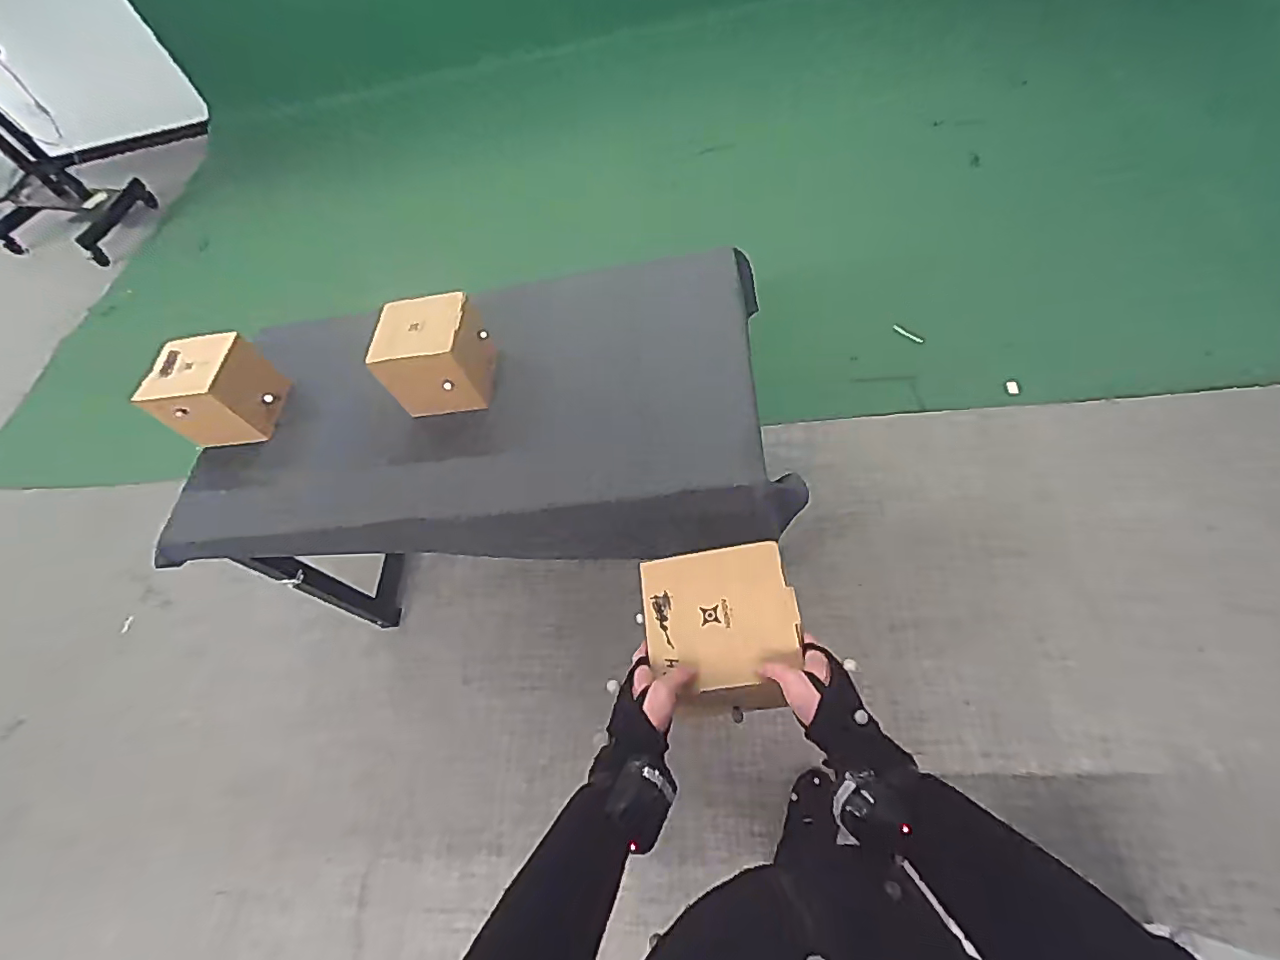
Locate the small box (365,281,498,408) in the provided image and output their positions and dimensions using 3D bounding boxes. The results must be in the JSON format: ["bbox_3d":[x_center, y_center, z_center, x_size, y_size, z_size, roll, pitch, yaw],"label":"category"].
[{"bbox_3d":[-0.399,-0.263,1.074,0.179,0.176,0.168,-6,59,10],"label":"small box"}]

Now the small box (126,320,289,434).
[{"bbox_3d":[-0.897,-0.211,1.140,0.179,0.176,0.168,-4,60,8],"label":"small box"}]

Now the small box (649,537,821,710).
[{"bbox_3d":[0.114,0.190,0.692,0.179,0.176,0.168,-9,58,6],"label":"small box"}]
